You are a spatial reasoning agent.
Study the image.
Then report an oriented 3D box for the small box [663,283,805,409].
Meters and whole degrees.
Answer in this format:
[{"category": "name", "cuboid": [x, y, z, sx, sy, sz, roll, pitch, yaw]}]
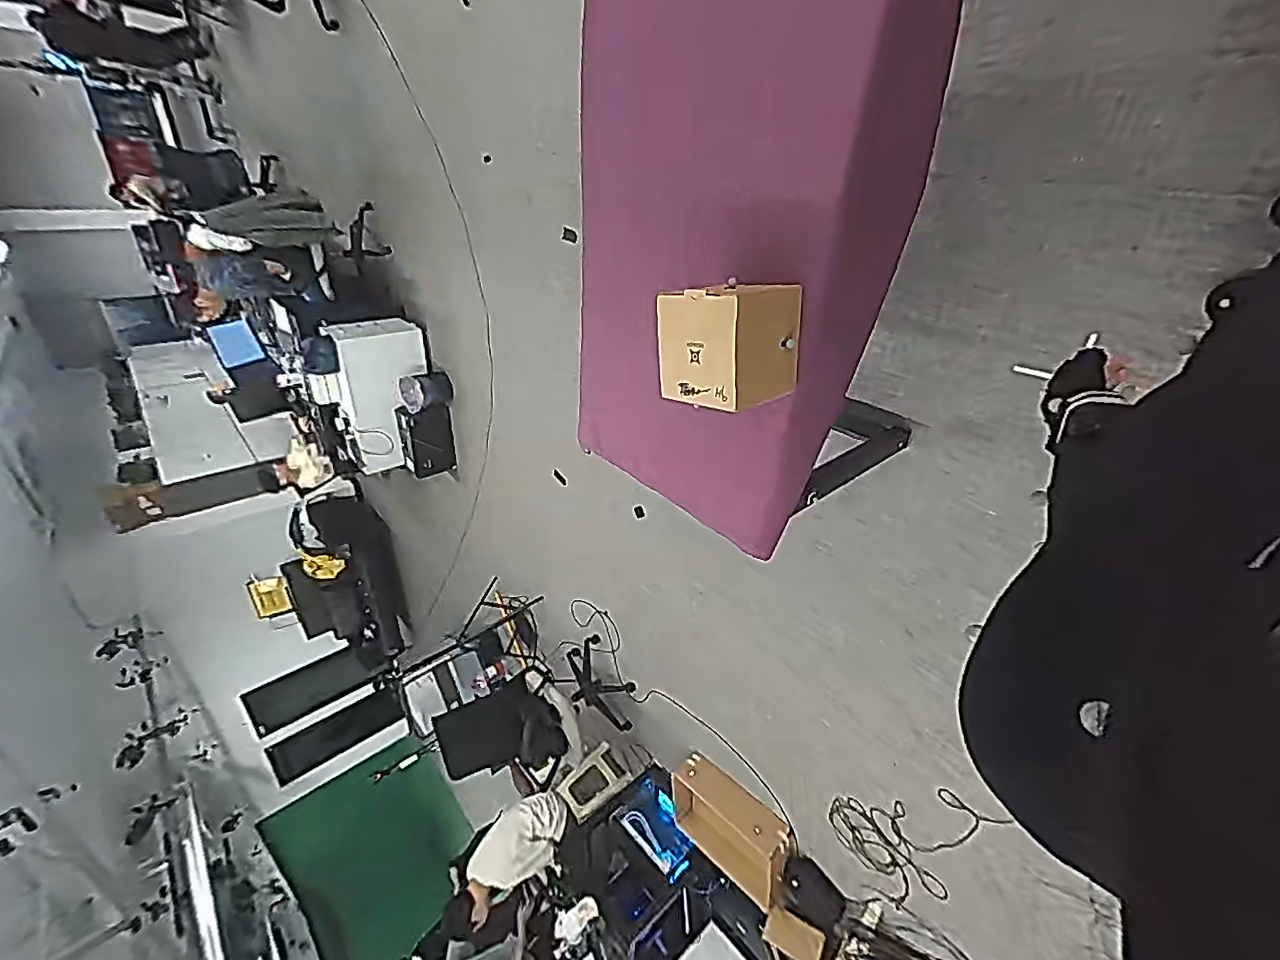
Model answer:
[{"category": "small box", "cuboid": [0.155, -0.231, 0.897, 0.168, 0.176, 0.179, 21, 122, 45]}]
